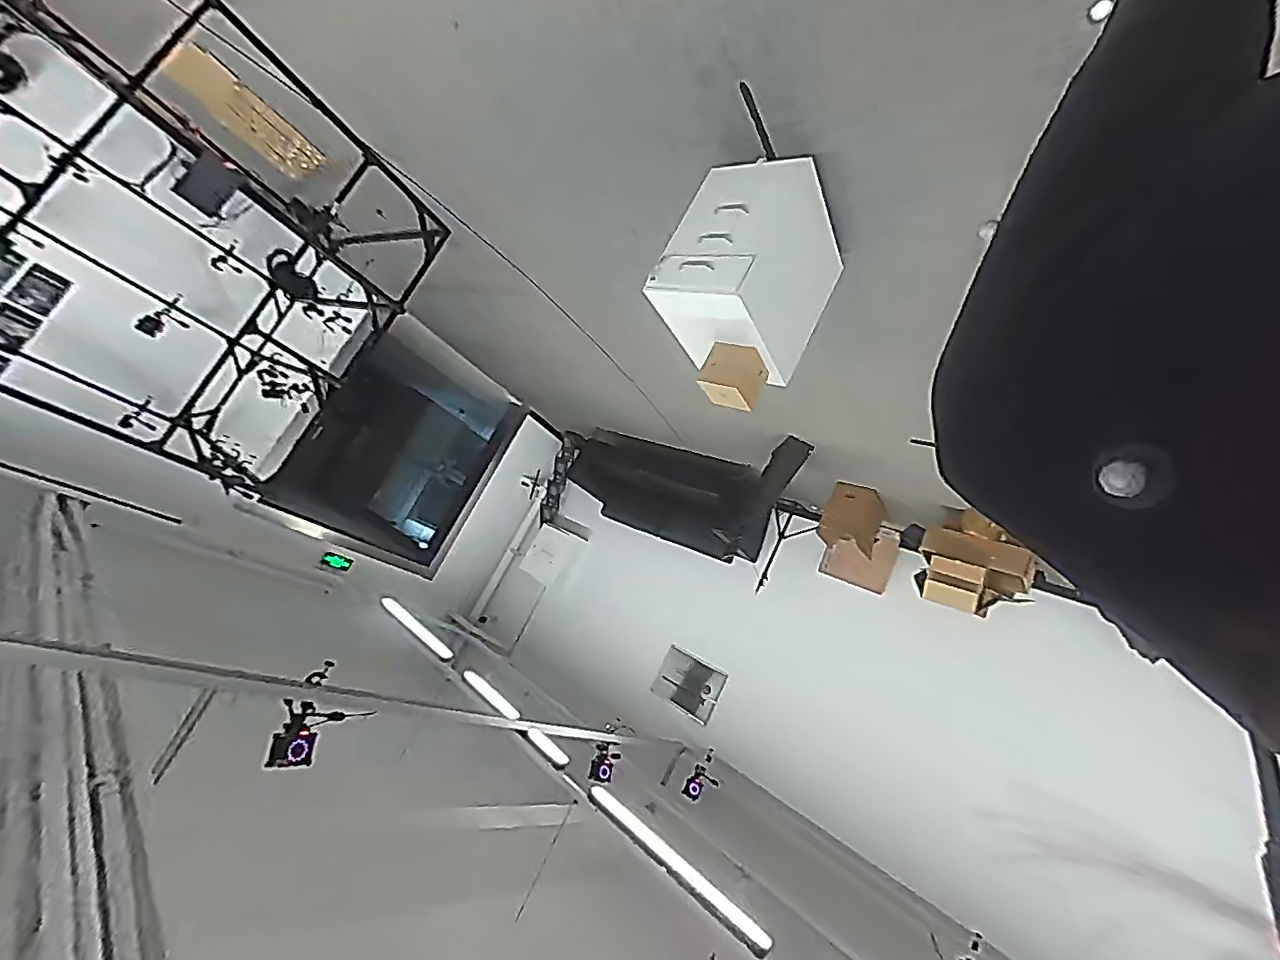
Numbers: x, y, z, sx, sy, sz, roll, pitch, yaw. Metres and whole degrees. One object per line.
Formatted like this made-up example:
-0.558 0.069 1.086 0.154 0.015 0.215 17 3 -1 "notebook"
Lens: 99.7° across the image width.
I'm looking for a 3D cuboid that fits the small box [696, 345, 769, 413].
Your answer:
0.338 -0.369 1.956 0.179 0.176 0.168 20 168 37 "small box"
